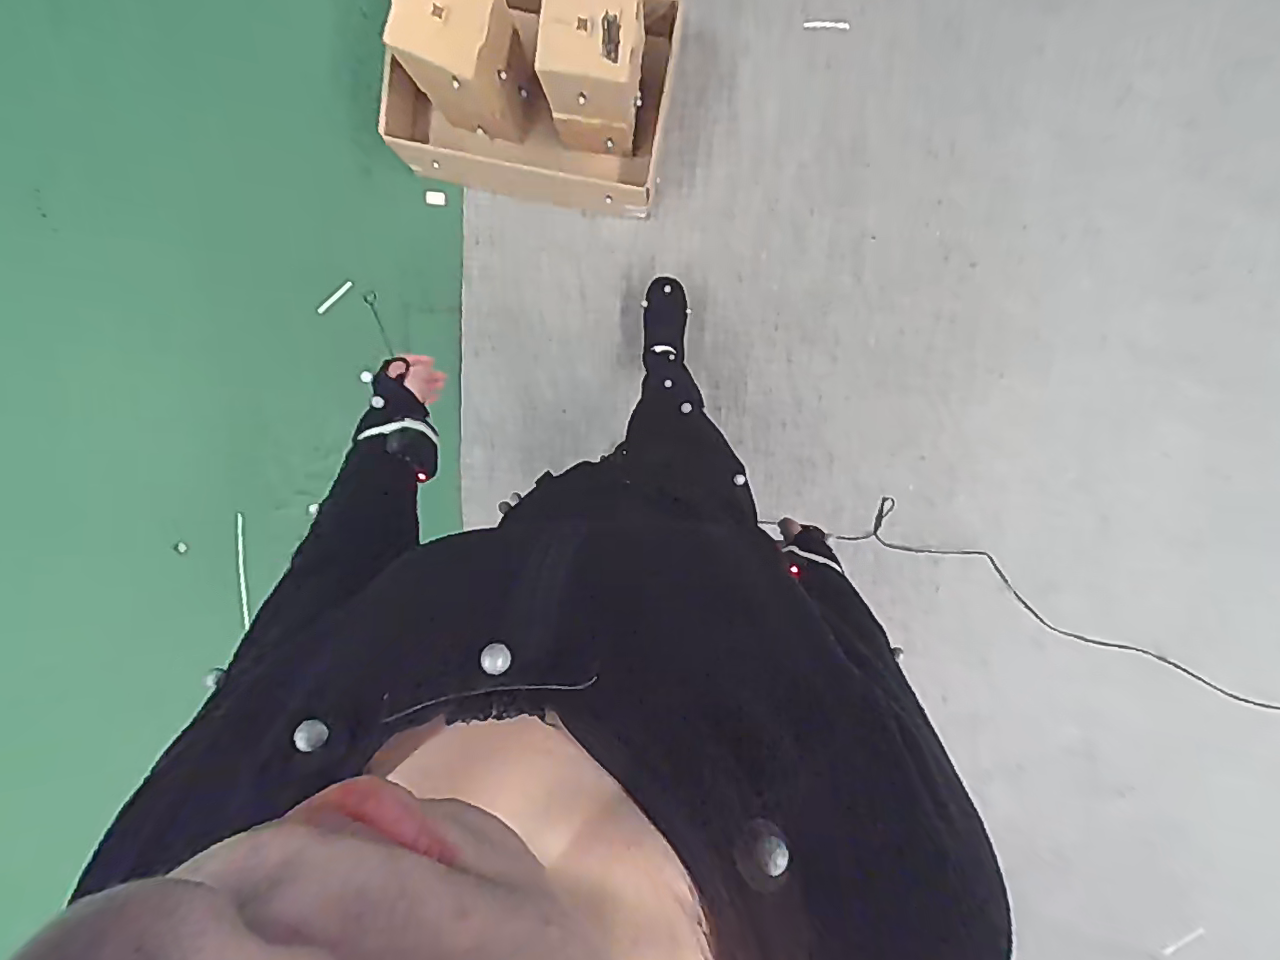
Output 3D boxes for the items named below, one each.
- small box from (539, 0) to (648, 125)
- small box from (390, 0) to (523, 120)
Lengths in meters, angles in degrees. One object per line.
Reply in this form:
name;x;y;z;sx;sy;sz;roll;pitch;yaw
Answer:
small box;-0.082;-0.826;1.056;0.179;0.176;0.168;10;100;2
small box;-0.352;-0.855;1.066;0.179;0.176;0.168;21;99;-3
